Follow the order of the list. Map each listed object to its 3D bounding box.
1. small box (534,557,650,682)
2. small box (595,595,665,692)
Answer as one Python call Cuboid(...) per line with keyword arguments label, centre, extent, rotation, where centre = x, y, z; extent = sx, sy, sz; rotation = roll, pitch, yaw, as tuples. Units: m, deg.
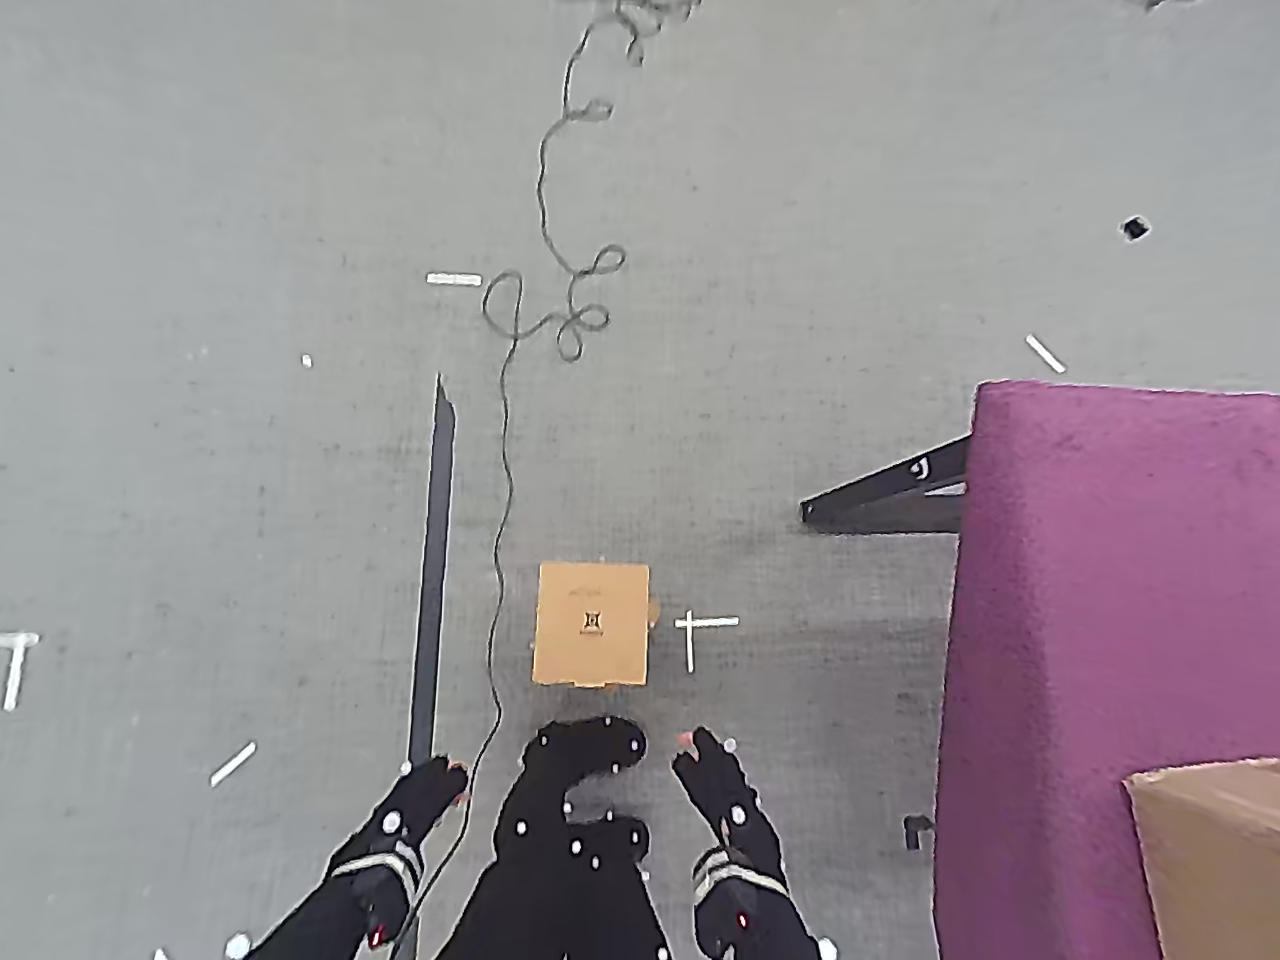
Cuboid(label="small box", centre=(-0.074, 0.217, 0.867), extent=(0.168, 0.176, 0.179), rotation=(2, 78, -5))
Cuboid(label="small box", centre=(-0.075, 0.267, 1.024), extent=(0.168, 0.176, 0.179), rotation=(32, 78, 3))
